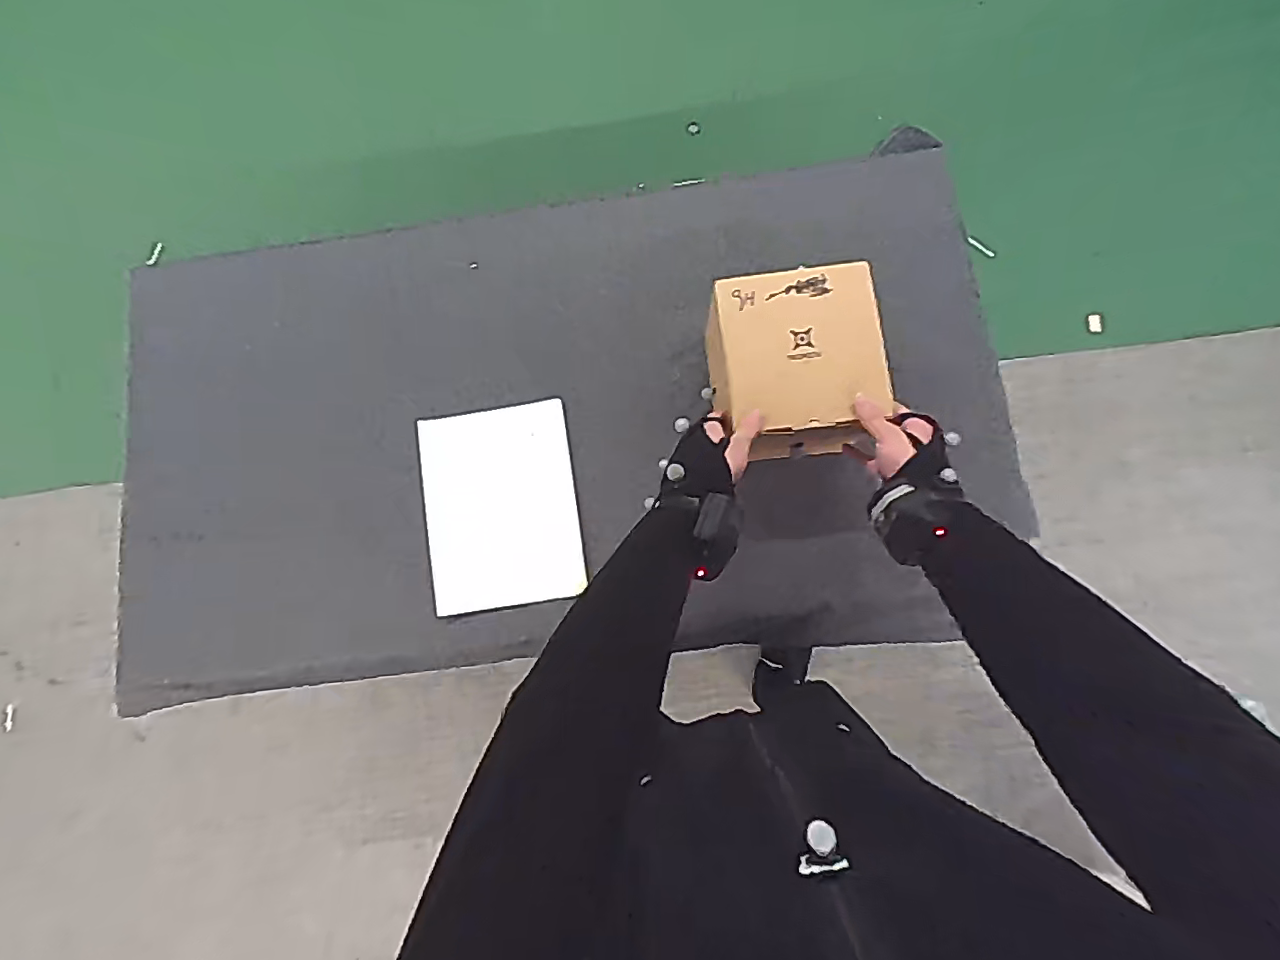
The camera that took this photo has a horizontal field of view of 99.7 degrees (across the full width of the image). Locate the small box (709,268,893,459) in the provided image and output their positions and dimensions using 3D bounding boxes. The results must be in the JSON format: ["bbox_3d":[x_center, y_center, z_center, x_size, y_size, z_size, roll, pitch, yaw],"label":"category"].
[{"bbox_3d":[0.177,-0.124,0.648,0.168,0.176,0.179,-6,83,2],"label":"small box"}]
